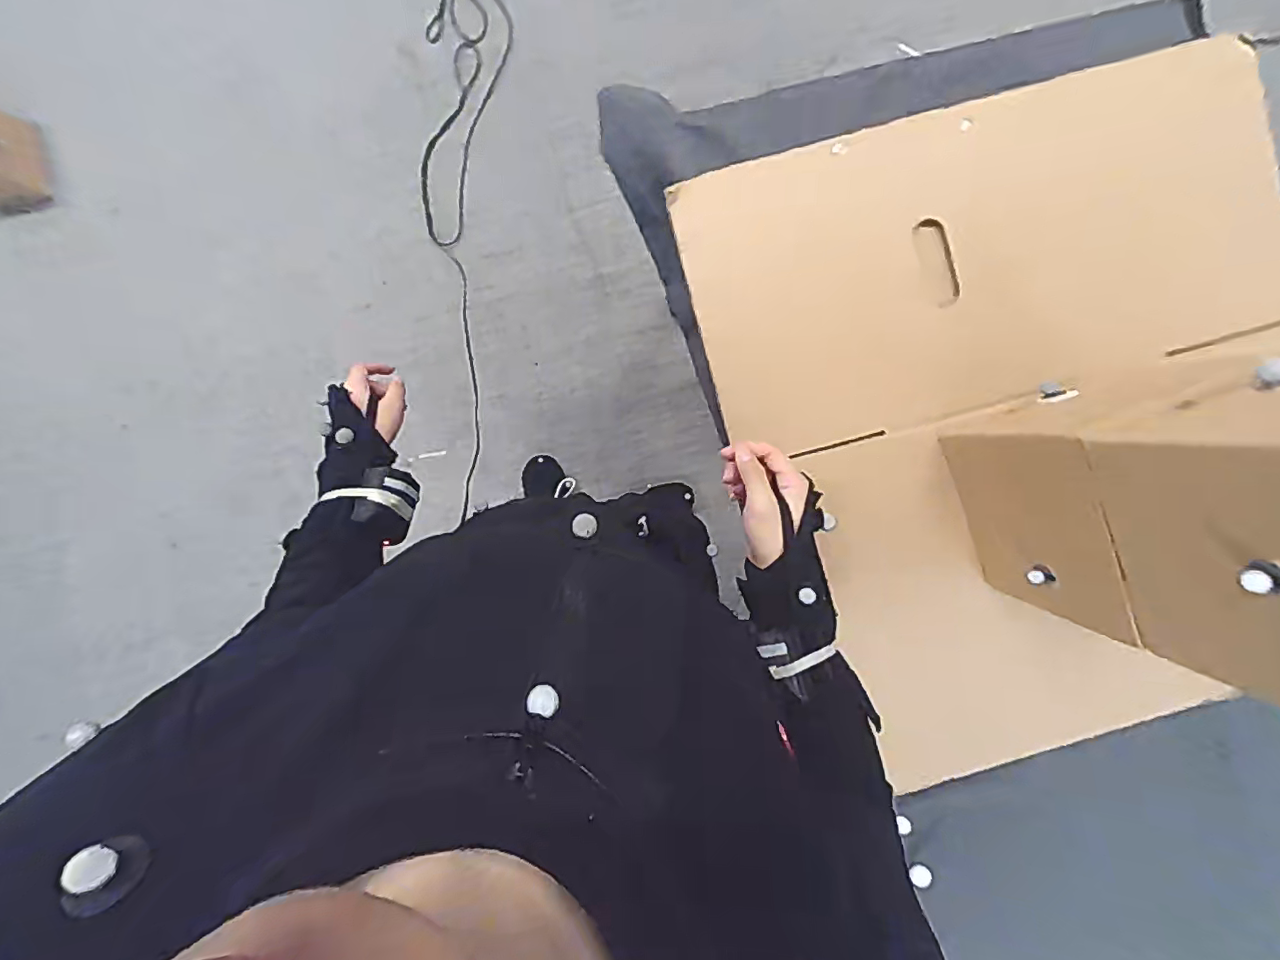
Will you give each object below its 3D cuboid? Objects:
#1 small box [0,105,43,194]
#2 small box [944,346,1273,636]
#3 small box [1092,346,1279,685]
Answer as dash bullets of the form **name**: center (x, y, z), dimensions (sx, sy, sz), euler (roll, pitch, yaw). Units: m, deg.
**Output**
- **small box**: center (-1.538, -0.772, 1.230), dimensions (0.168, 0.176, 0.179), euler (-10, 96, 1)
- **small box**: center (0.413, 0.002, 0.477), dimensions (0.168, 0.176, 0.179), euler (-23, 96, -2)
- **small box**: center (0.426, 0.019, 0.314), dimensions (0.168, 0.176, 0.179), euler (-24, 96, -1)
